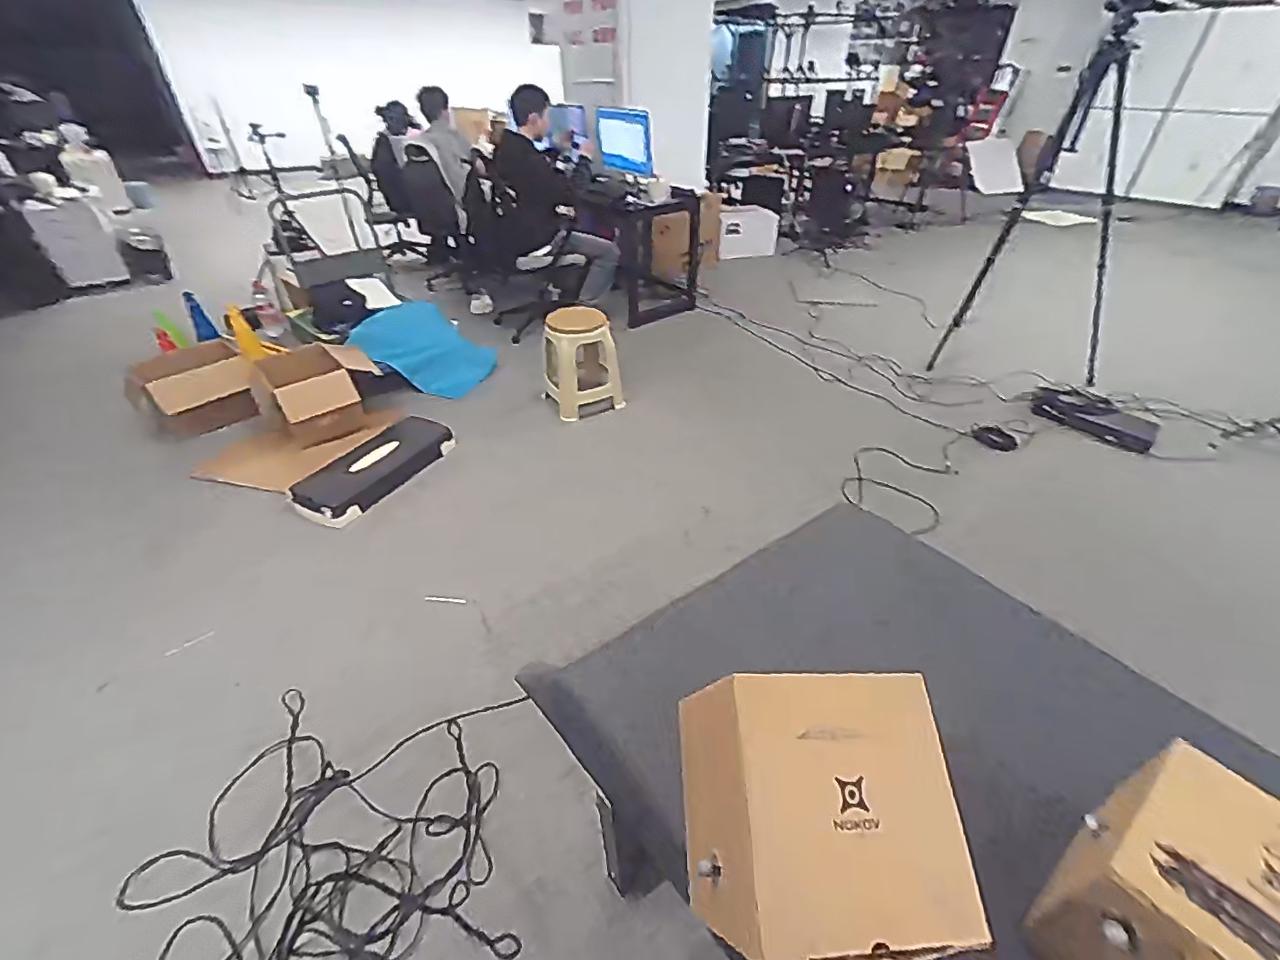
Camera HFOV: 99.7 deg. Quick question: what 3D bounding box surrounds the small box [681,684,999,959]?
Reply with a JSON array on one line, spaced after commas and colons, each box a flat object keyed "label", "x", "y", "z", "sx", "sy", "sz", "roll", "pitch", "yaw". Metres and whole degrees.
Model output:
[{"label": "small box", "x": 0.137, "y": 0.273, "z": 0.446, "sx": 0.168, "sy": 0.176, "sz": 0.179, "roll": 3, "pitch": 60, "yaw": -11}]
